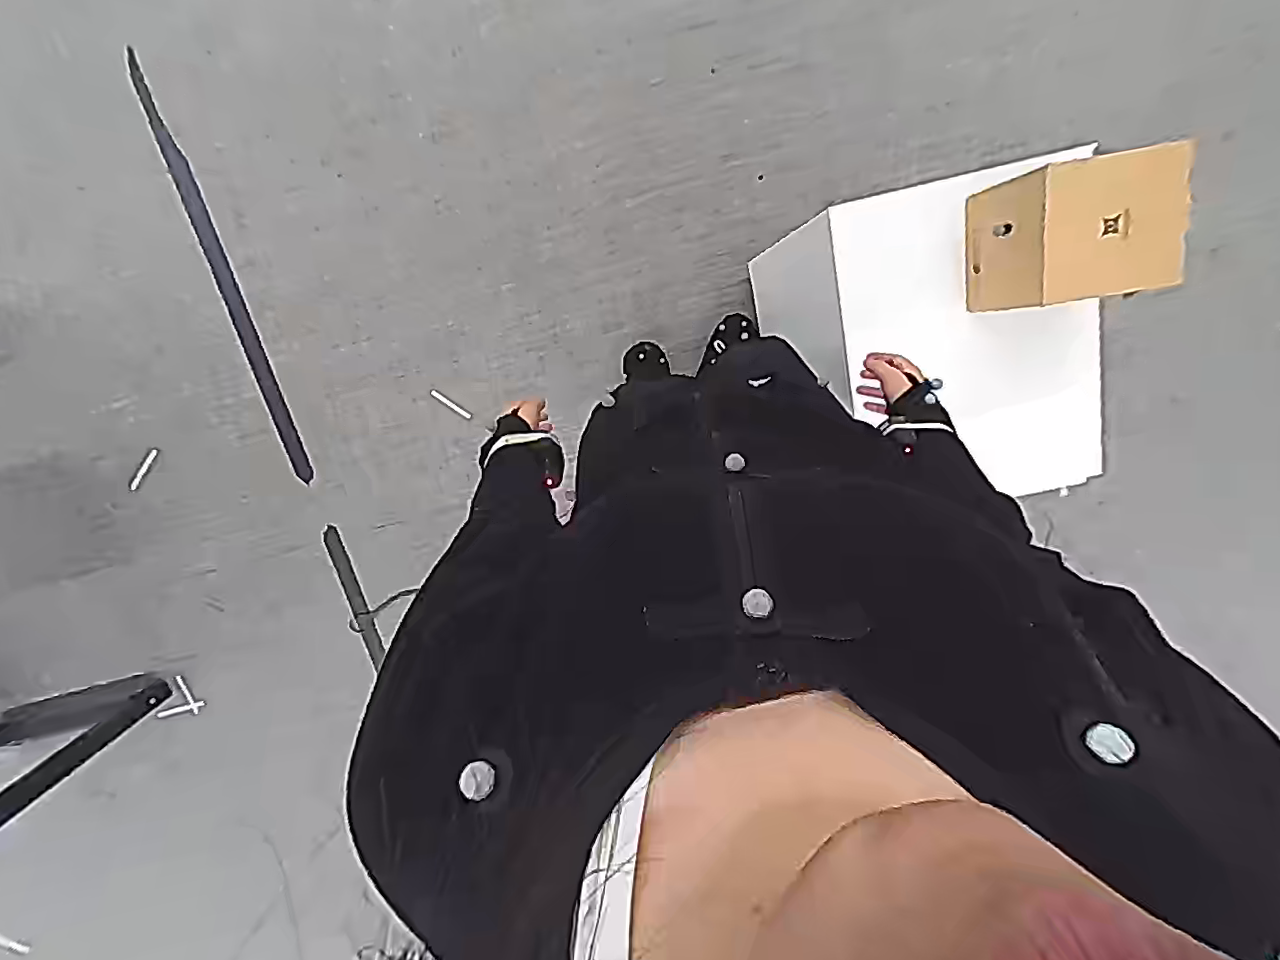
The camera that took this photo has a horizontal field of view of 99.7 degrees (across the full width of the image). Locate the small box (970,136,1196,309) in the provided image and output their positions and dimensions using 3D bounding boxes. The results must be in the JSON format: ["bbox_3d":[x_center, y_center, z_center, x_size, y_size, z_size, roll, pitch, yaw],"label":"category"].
[{"bbox_3d":[0.576,-0.332,0.730,0.179,0.176,0.168,-9,105,1],"label":"small box"}]
